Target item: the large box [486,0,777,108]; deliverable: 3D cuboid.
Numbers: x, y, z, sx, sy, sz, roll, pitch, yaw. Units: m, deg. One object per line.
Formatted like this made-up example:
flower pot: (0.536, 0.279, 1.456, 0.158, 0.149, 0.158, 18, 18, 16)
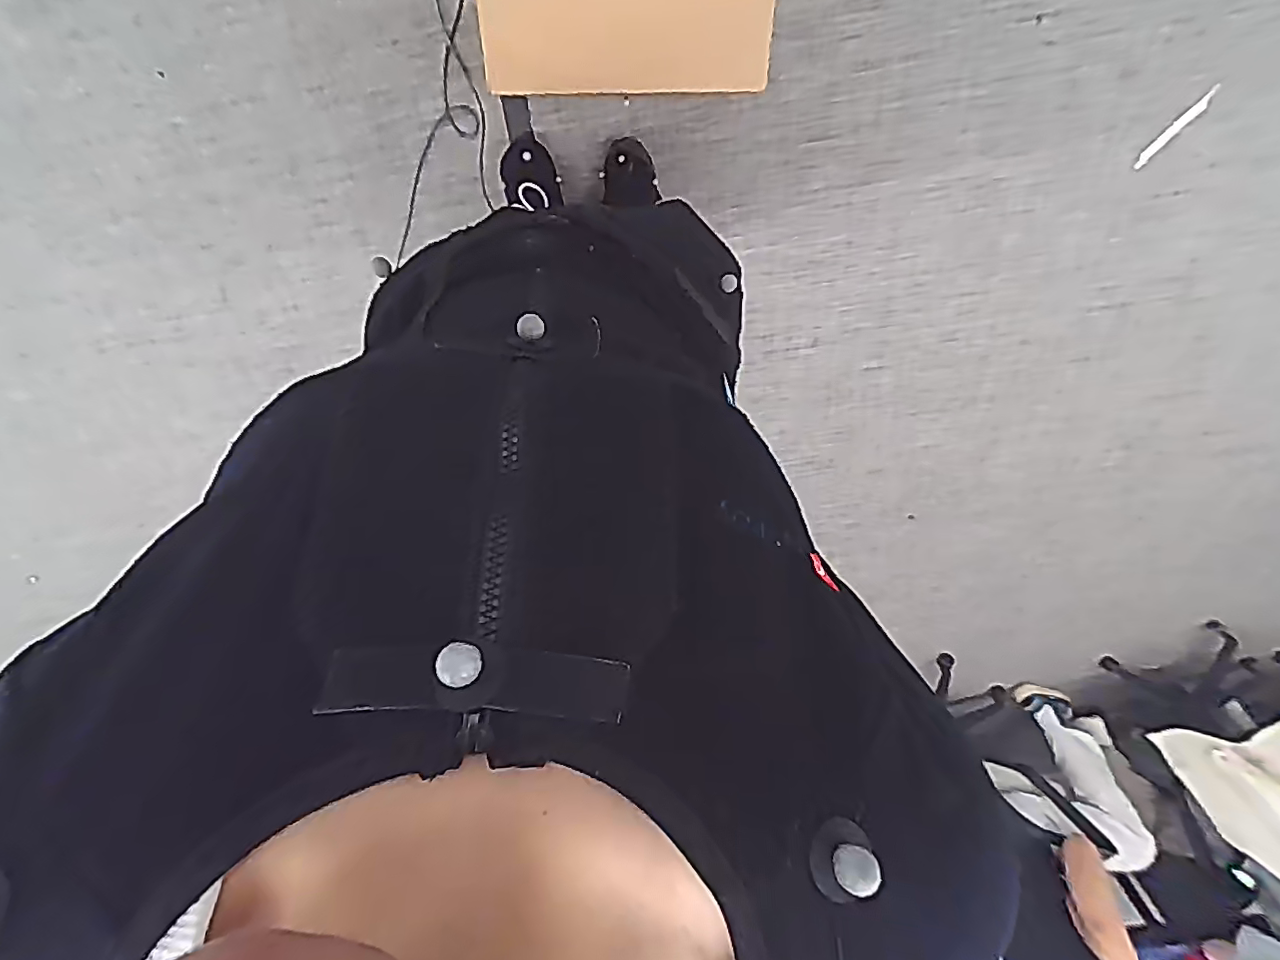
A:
large box: (-0.019, -0.767, 0.829, 0.408, 0.320, 0.320, -2, 126, -2)
